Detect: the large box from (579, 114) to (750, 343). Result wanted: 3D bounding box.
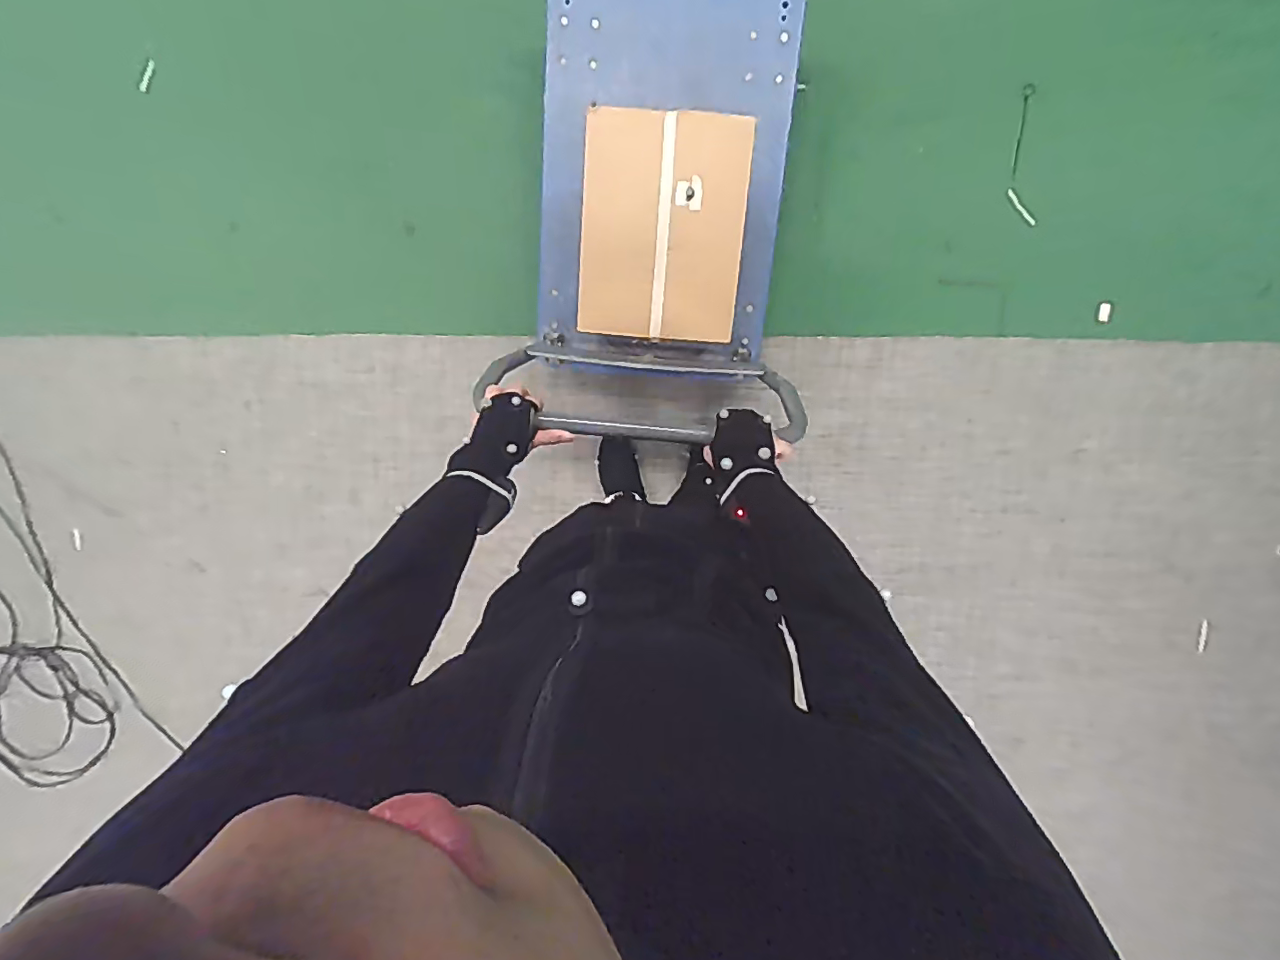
[{"bbox_3d":[0.049,-0.517,1.198,0.320,0.320,0.408,5,104,1],"label":"large box"}]
